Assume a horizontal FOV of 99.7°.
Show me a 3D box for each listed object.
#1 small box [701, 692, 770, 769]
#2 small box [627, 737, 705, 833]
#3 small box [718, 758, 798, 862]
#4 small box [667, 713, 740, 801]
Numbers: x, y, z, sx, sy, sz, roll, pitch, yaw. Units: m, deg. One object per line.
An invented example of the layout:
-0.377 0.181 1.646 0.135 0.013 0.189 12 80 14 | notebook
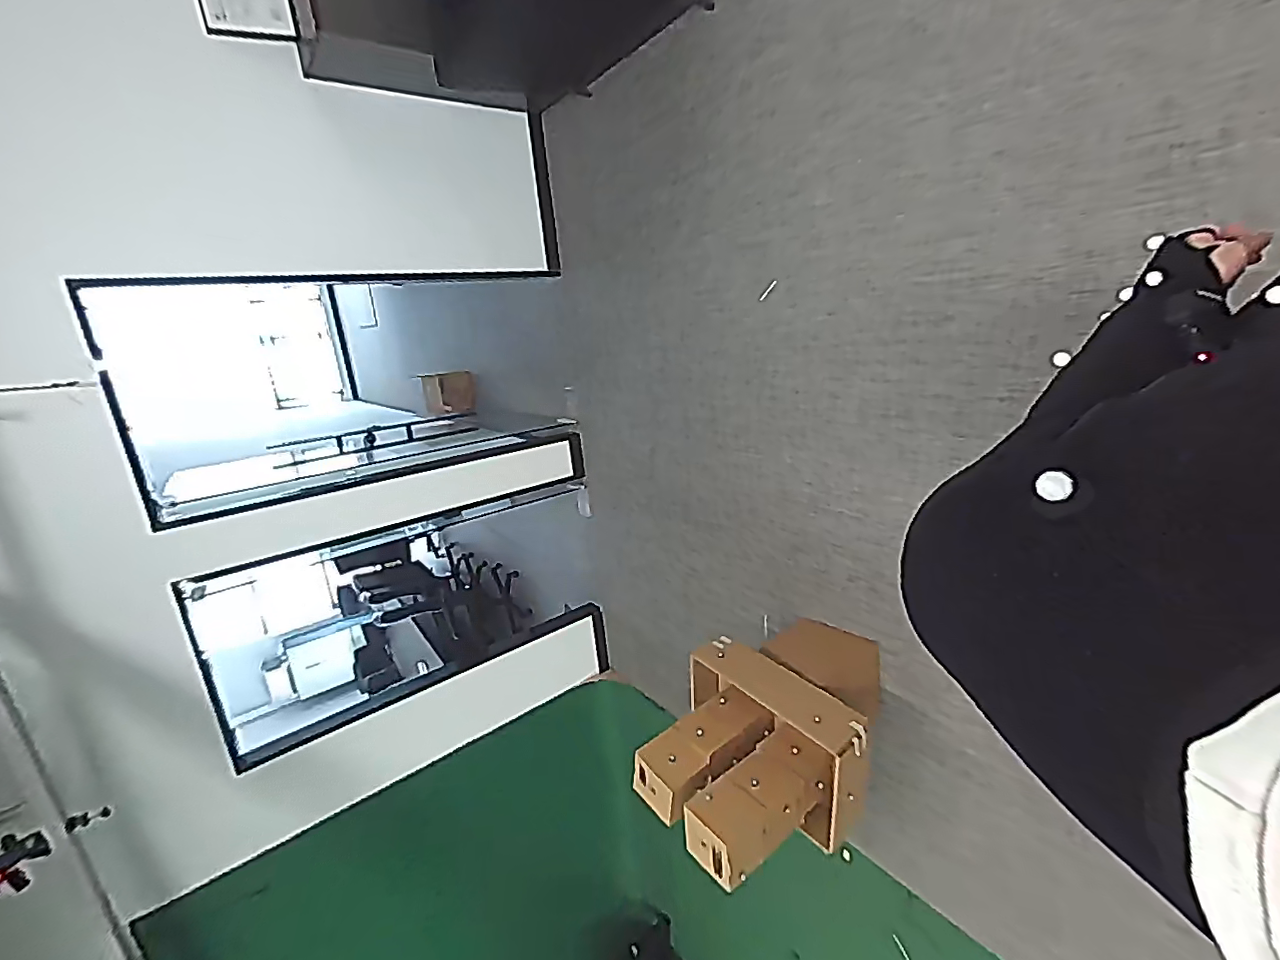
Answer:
0.334 0.876 1.901 0.179 0.176 0.168 18 117 49 | small box
0.081 0.952 1.711 0.179 0.176 0.168 28 123 43 | small box
0.356 0.978 1.623 0.179 0.176 0.168 16 114 51 | small box
0.210 0.912 1.805 0.179 0.176 0.168 16 114 48 | small box
